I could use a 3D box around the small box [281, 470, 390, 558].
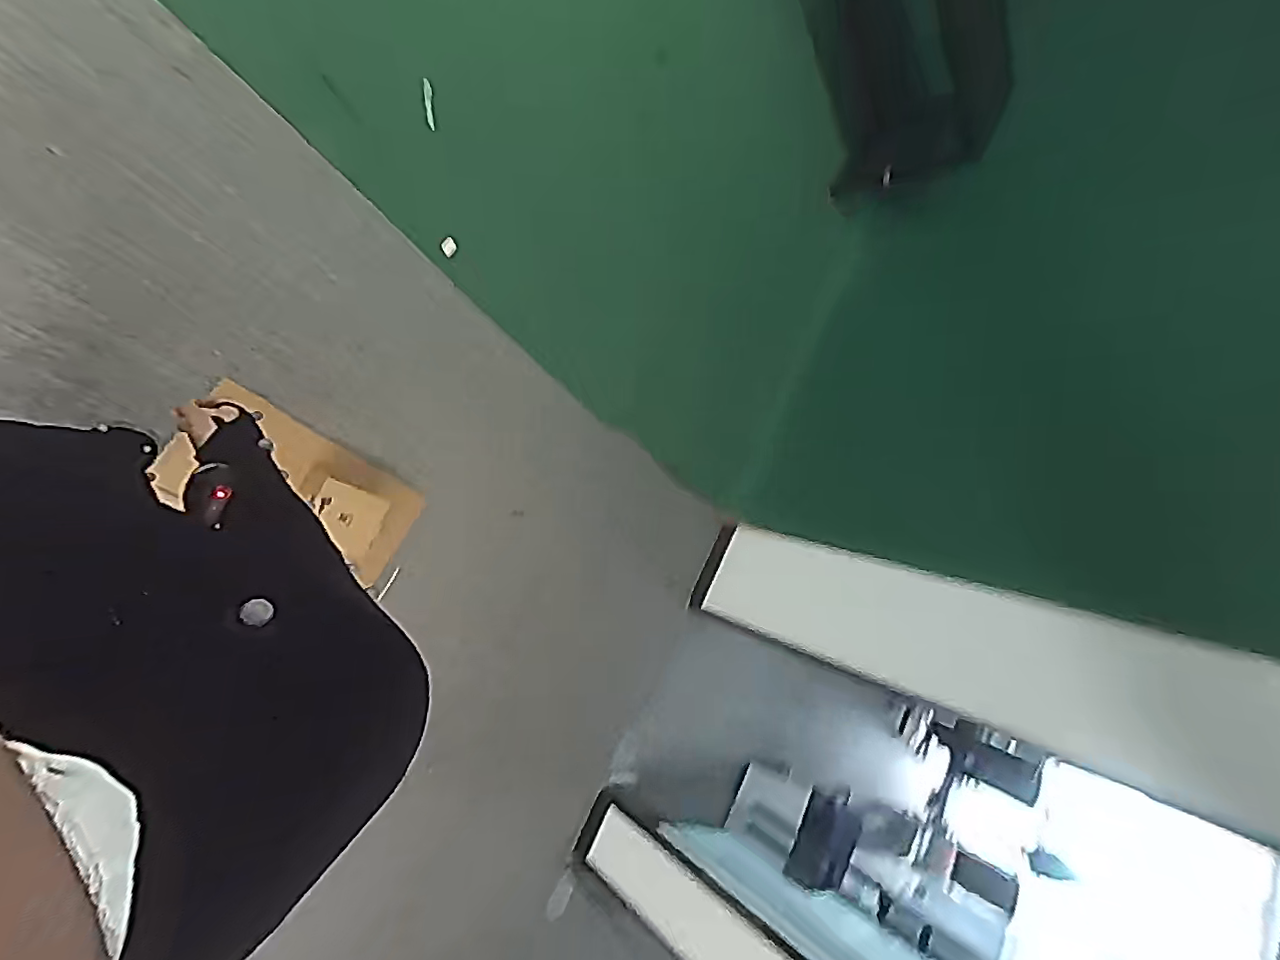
[{"bbox_3d":[-0.809,0.086,1.435,0.179,0.176,0.168,33,76,-44],"label":"small box"}]
